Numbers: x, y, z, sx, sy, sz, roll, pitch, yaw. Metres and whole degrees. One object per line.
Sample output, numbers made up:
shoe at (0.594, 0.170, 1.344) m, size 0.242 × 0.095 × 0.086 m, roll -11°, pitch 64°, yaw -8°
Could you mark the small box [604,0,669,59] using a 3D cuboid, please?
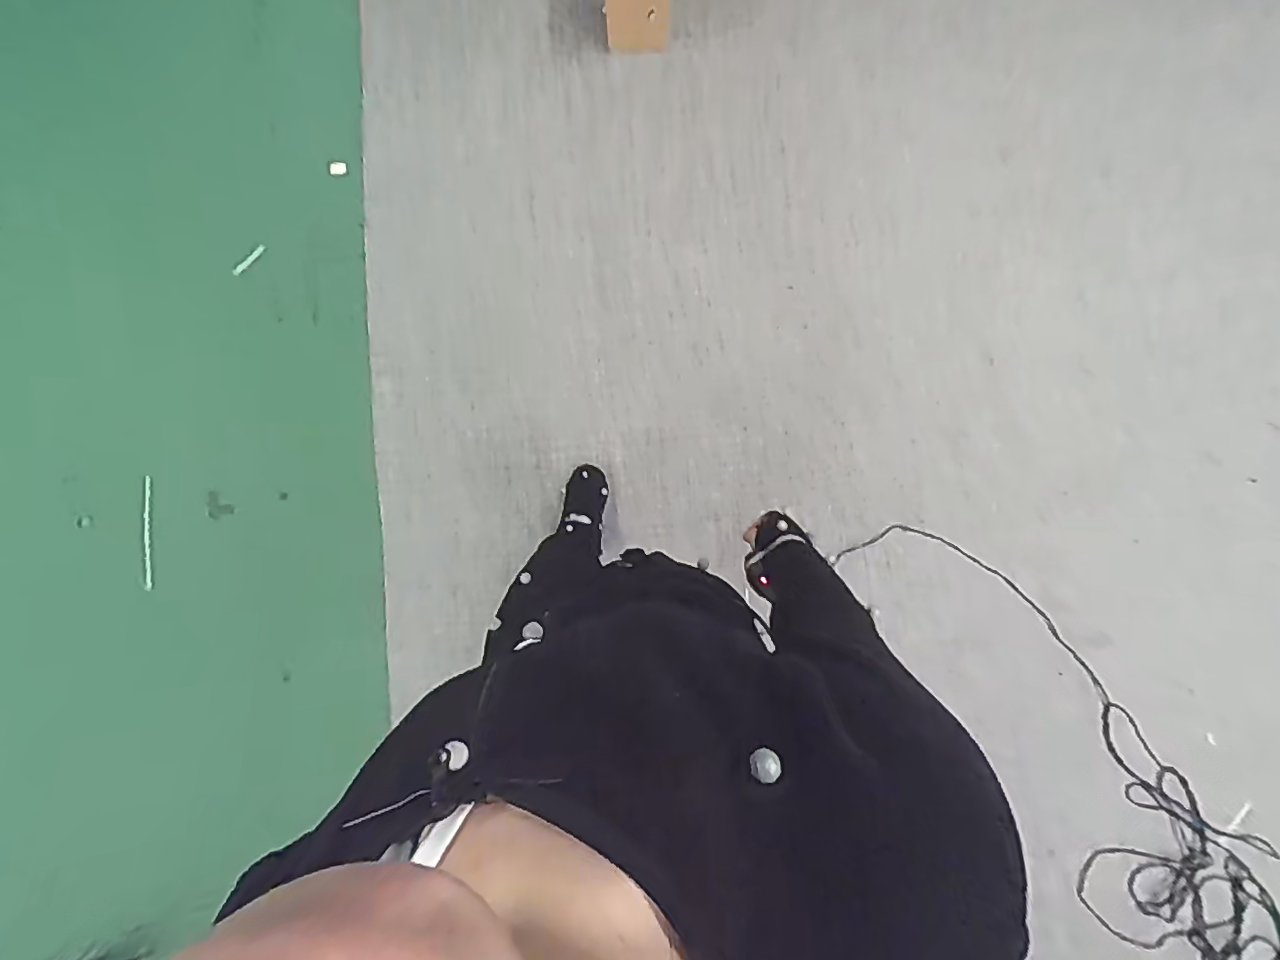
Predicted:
small box at (-0.008, -1.344, 1.540) m, size 0.179 × 0.176 × 0.168 m, roll 1°, pitch 85°, yaw 1°
